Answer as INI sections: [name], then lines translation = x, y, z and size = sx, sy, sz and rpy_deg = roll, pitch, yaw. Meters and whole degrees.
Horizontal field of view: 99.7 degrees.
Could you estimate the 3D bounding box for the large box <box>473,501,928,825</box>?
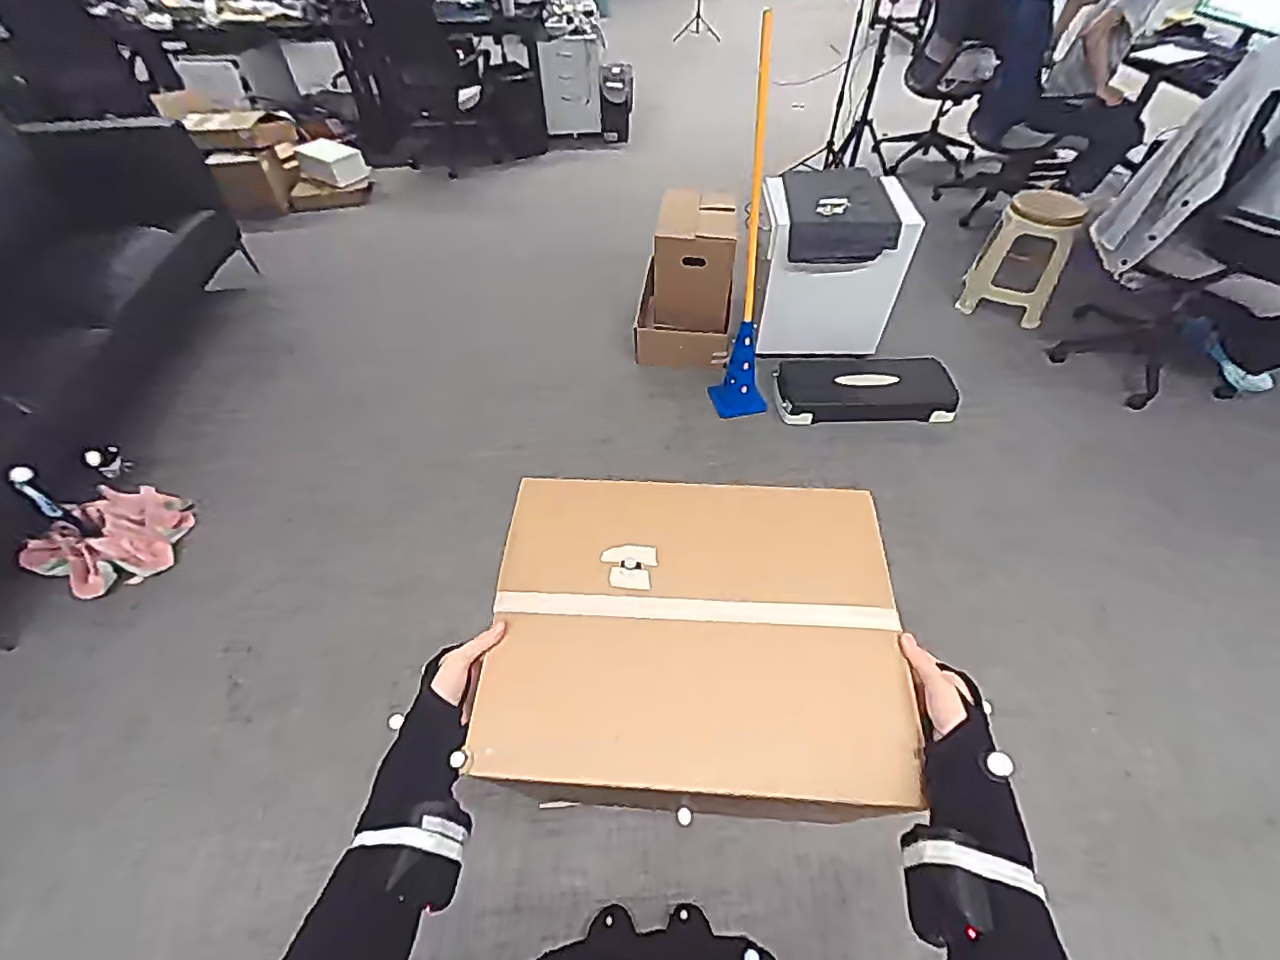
[large box]
translation = 0.063, 0.236, 0.674
size = 0.408, 0.320, 0.320
rpy_deg = 1, 54, 4
